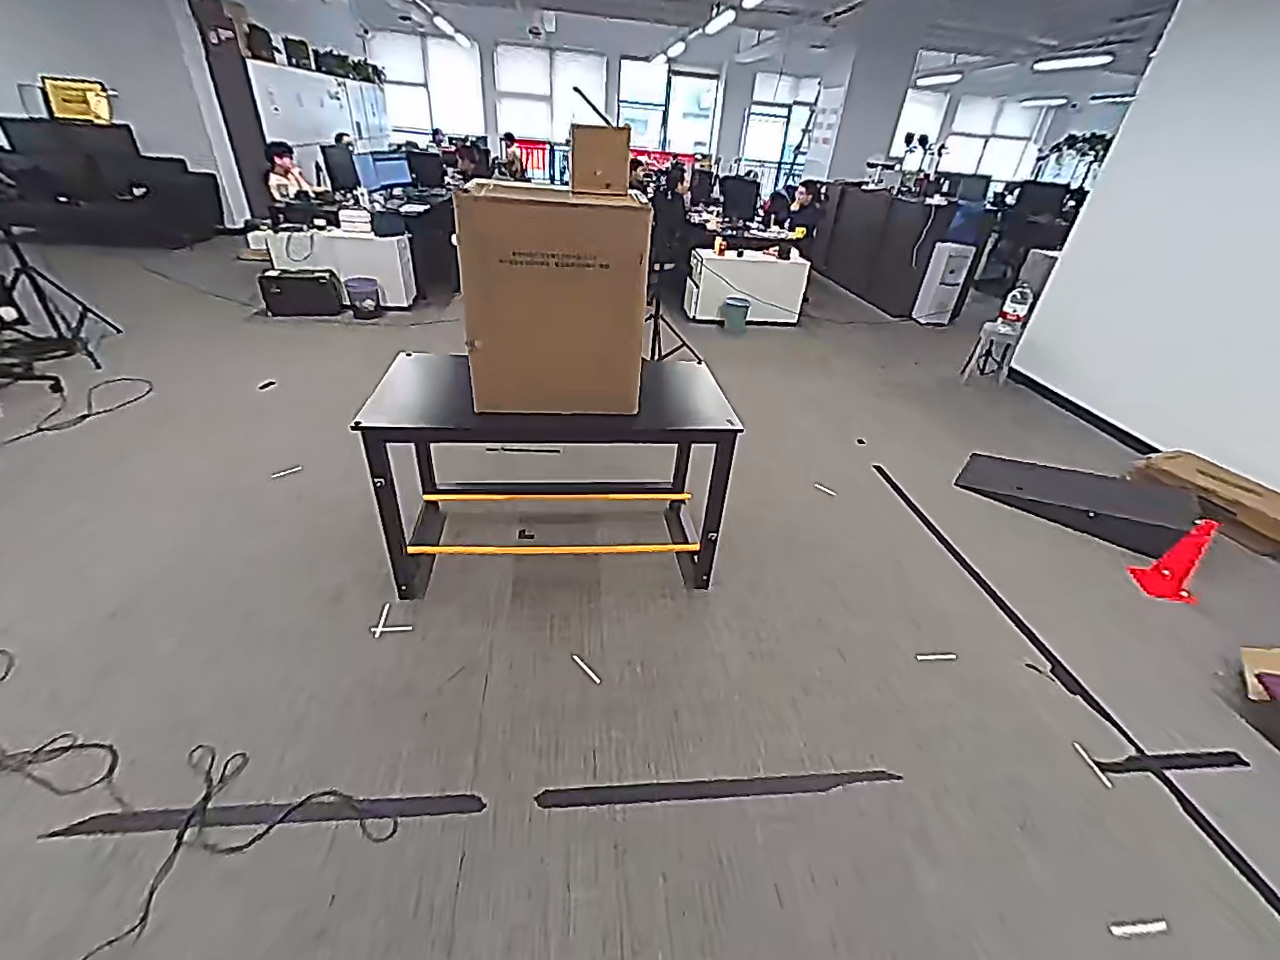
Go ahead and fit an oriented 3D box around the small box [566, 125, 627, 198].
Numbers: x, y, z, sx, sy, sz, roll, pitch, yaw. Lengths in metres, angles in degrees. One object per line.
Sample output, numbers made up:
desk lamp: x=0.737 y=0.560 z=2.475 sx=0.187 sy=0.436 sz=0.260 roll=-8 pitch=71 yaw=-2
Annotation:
small box: x=-0.132 y=-0.932 z=1.583 sx=0.168 sy=0.176 sz=0.179 roll=-3 pitch=32 yaw=-9
